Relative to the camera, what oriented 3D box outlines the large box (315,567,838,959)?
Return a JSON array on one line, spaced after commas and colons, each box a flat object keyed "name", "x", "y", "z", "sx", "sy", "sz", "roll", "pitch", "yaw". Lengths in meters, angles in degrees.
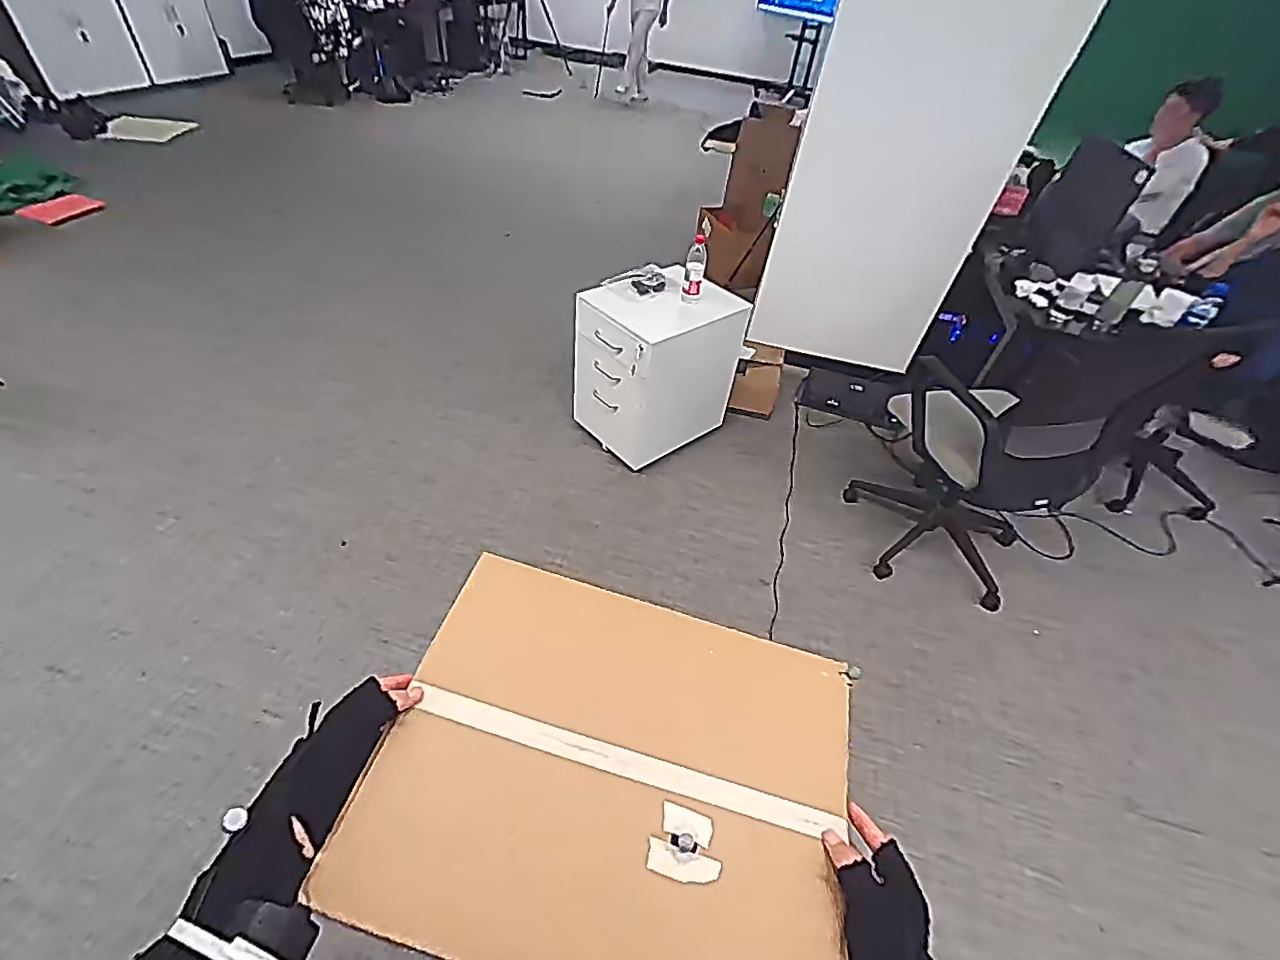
[{"name": "large box", "x": -0.042, "y": 0.352, "z": 0.598, "sx": 0.408, "sy": 0.320, "sz": 0.320, "roll": 17, "pitch": 50, "yaw": 3}]
